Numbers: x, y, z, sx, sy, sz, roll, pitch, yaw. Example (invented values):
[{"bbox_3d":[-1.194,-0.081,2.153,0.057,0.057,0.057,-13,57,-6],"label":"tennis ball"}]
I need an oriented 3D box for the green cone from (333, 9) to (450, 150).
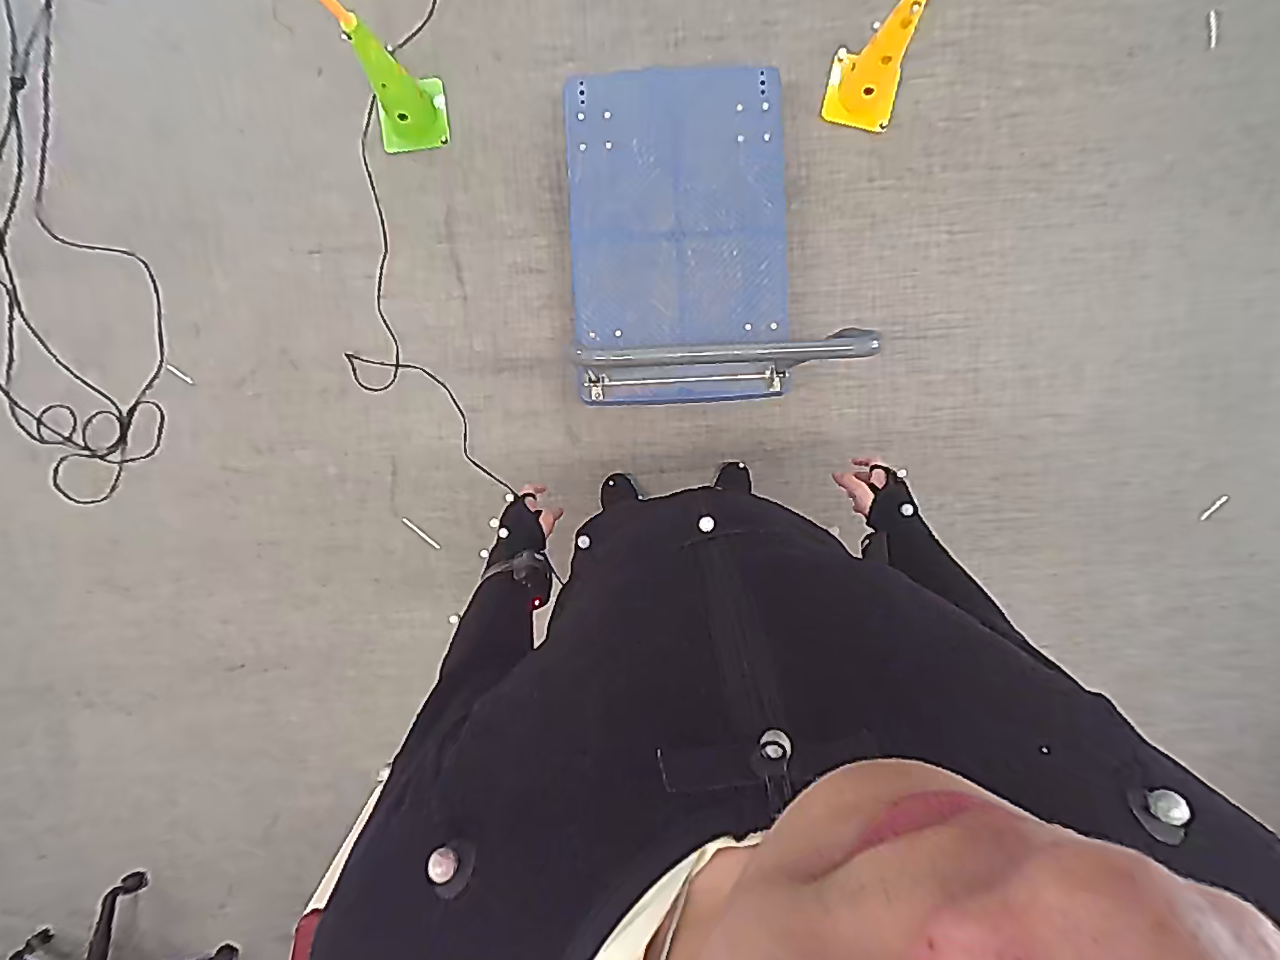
[{"bbox_3d":[-0.681,-1.089,1.435,0.202,0.368,0.200,-8,92,3],"label":"green cone"}]
